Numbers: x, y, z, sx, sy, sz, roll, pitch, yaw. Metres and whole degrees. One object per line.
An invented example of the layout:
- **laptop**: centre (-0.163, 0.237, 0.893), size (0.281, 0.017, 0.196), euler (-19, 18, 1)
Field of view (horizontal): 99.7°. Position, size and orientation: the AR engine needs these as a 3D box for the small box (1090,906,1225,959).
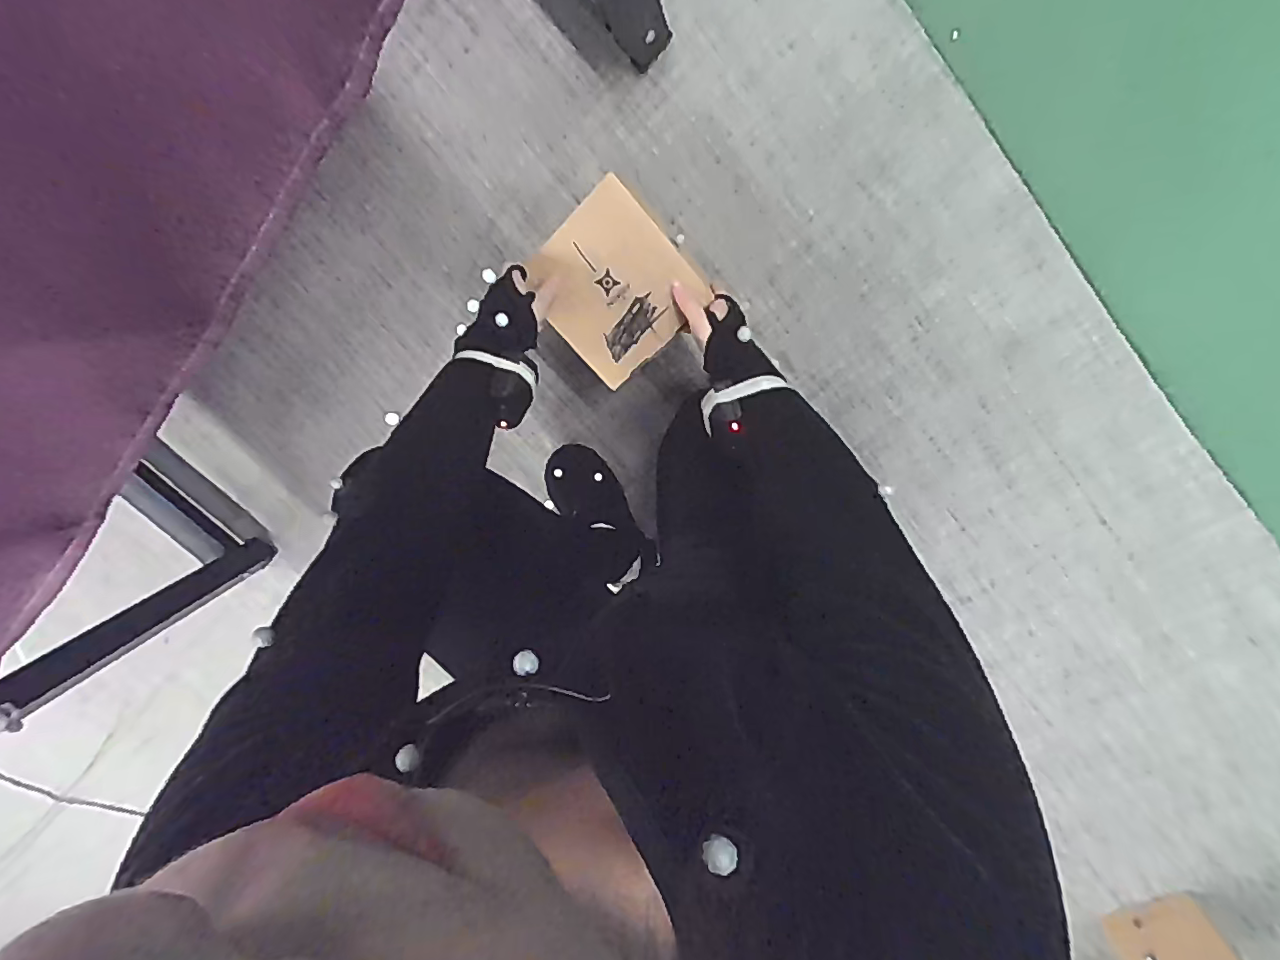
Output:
- **small box**: centre (0.976, 0.911, 0.975), size (0.168, 0.176, 0.179), euler (-39, 100, 22)
